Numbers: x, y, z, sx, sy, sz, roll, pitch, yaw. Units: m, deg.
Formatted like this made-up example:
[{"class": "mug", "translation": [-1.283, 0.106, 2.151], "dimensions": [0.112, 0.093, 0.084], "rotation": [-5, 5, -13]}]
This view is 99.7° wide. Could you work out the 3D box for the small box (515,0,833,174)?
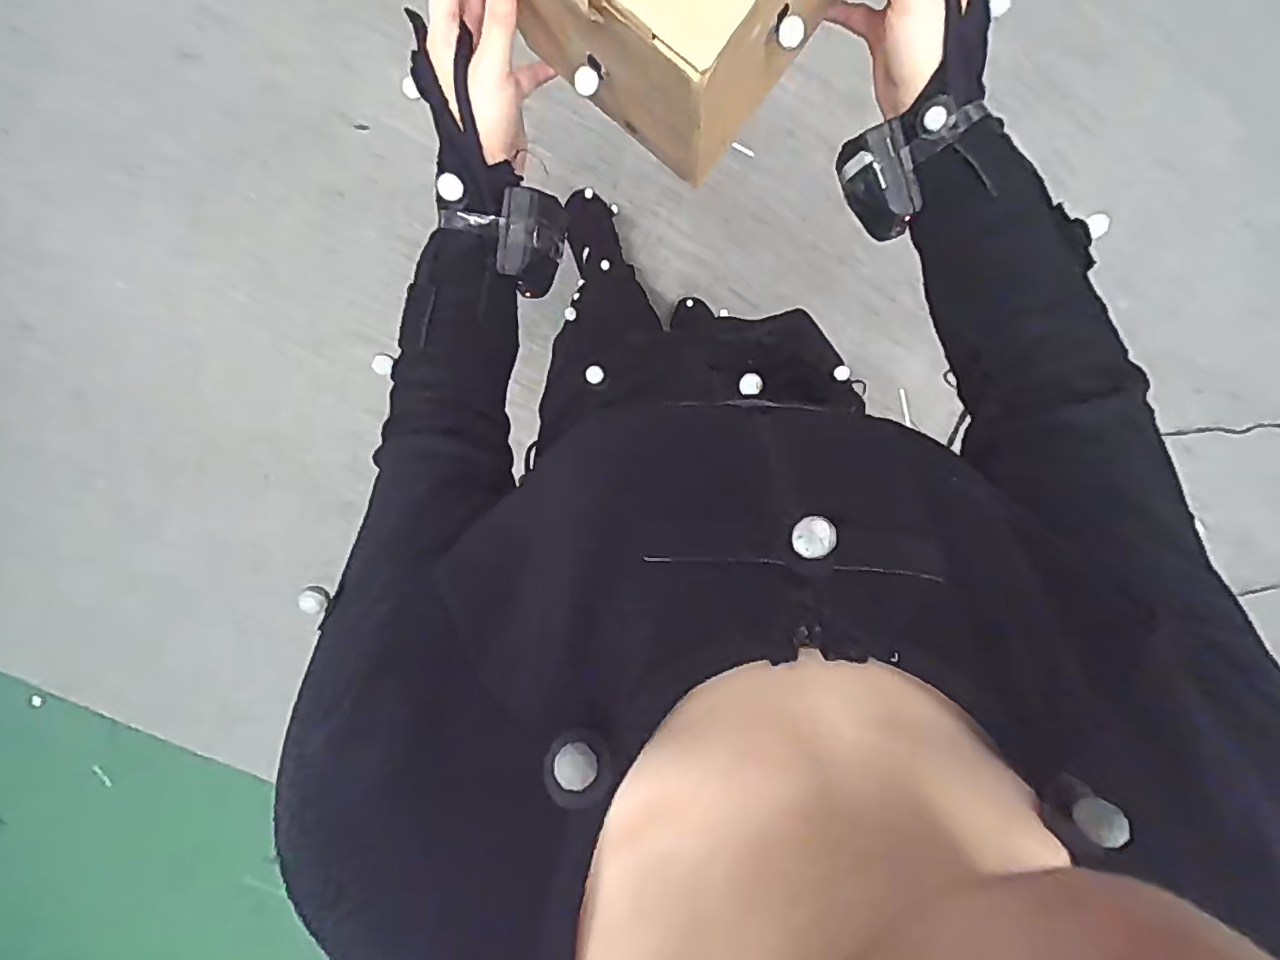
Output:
[{"class": "small box", "translation": [0.025, -0.322, 0.315], "dimensions": [0.168, 0.176, 0.179], "rotation": [38, 104, -3]}]
